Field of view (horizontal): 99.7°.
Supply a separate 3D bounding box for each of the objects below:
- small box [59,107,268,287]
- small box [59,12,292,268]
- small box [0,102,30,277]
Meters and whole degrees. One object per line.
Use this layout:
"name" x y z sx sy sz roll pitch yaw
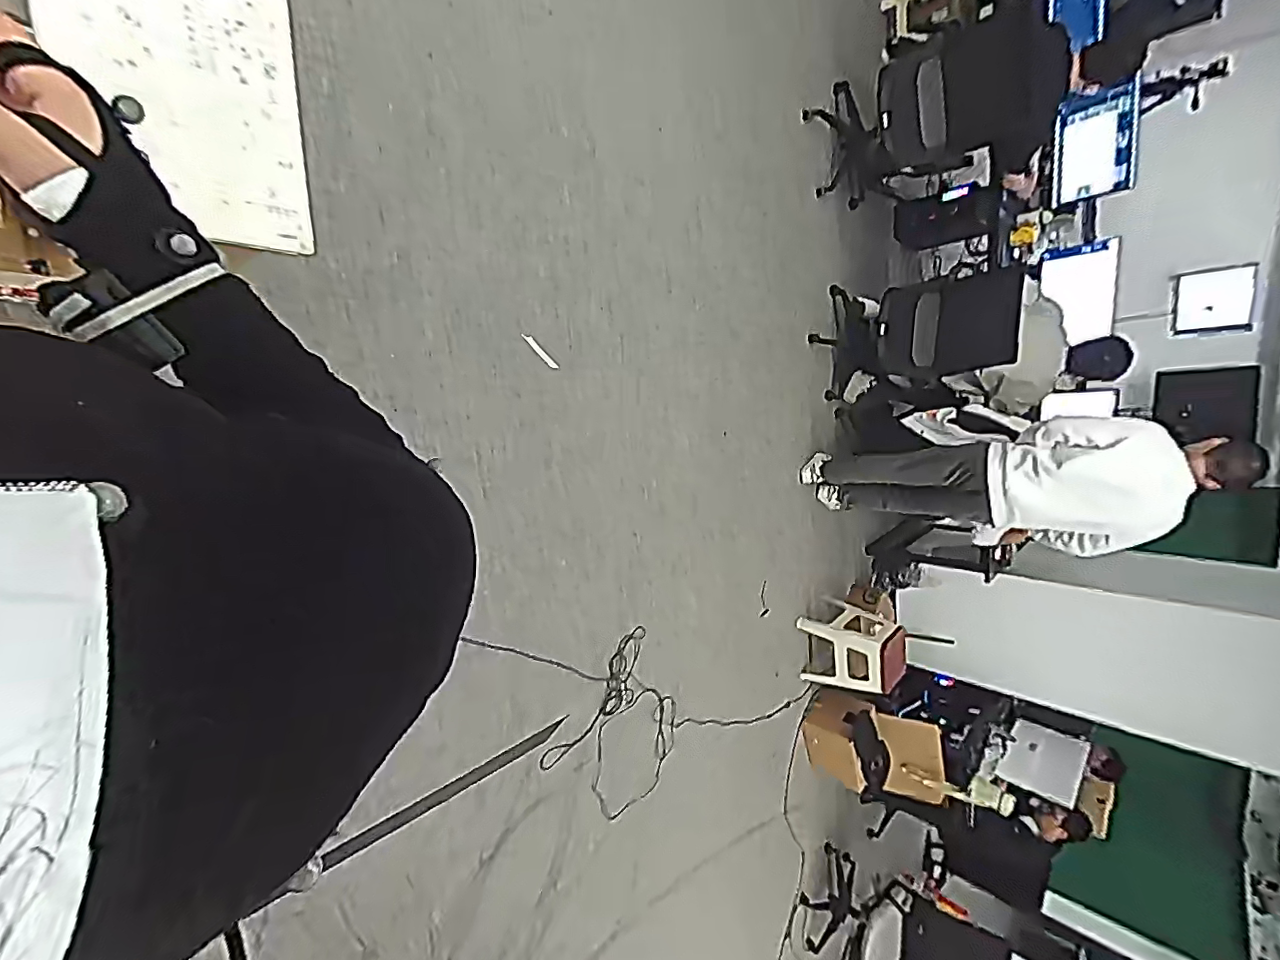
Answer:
"small box" -0.639 -0.361 0.728 0.179 0.176 0.168 -16 106 -44
"small box" -0.524 -0.357 0.612 0.168 0.176 0.179 -14 104 -45
"small box" -0.792 -0.326 0.578 0.179 0.176 0.168 -4 98 -43
